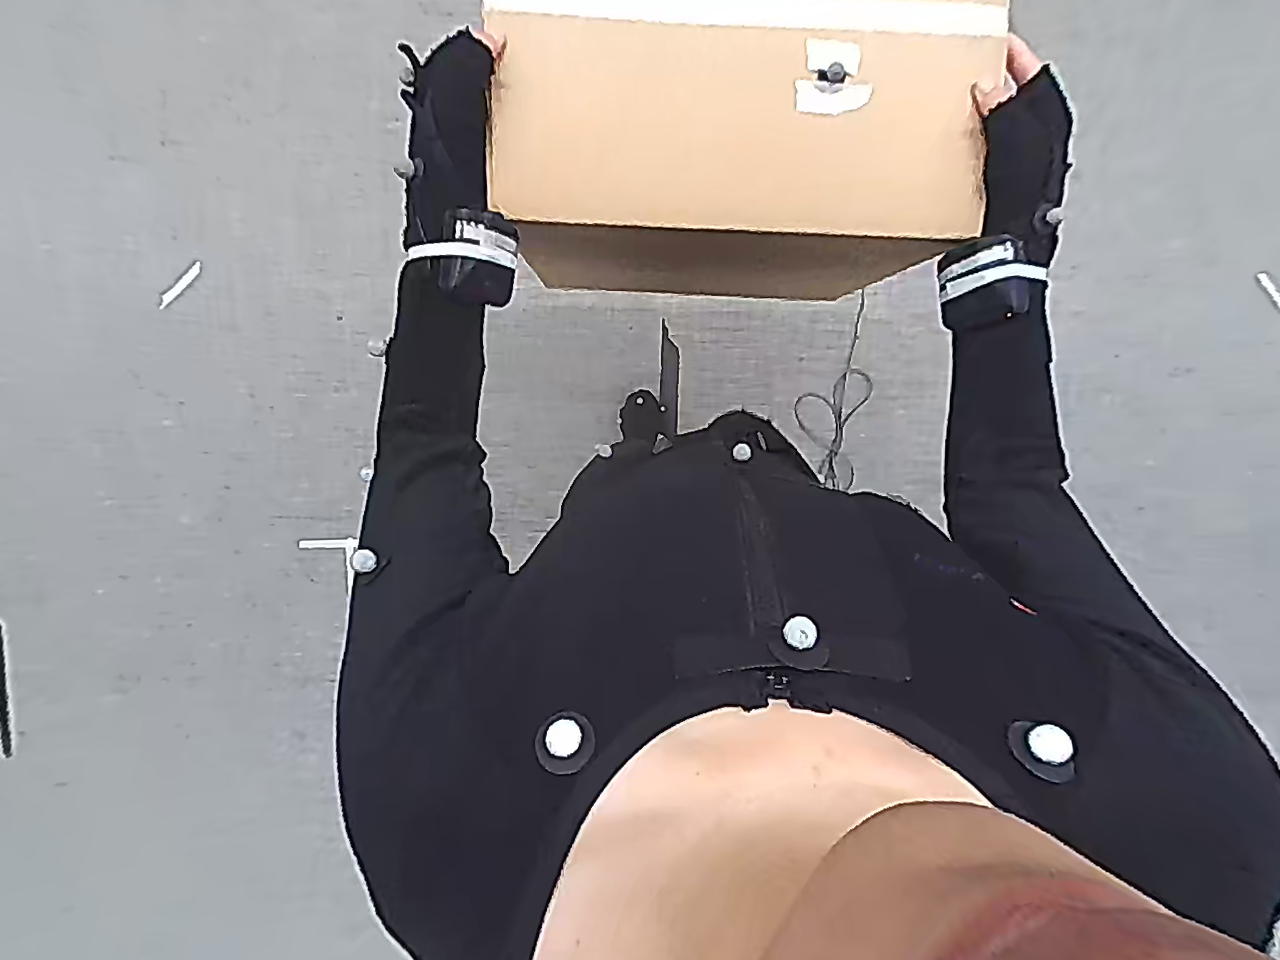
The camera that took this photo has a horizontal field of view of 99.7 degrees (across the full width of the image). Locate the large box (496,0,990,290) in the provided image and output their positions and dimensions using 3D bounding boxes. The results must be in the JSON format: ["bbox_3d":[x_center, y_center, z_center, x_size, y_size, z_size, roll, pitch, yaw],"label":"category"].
[{"bbox_3d":[0.076,-0.393,0.580,0.408,0.320,0.320,2,101,-3],"label":"large box"}]
